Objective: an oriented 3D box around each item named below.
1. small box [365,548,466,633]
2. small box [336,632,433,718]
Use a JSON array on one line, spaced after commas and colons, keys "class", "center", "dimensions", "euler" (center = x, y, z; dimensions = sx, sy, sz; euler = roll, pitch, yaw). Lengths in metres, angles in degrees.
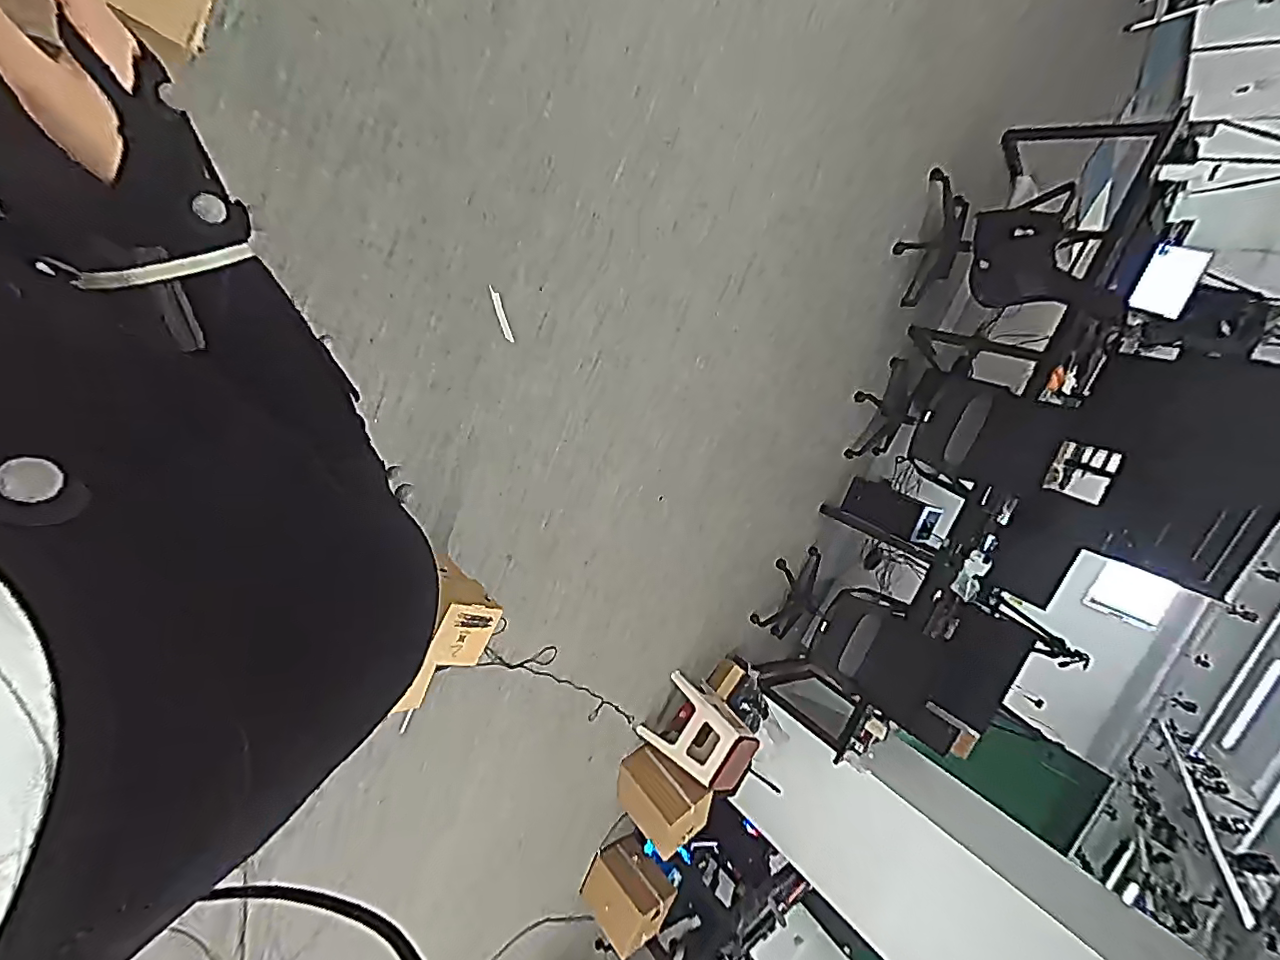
[{"class": "small box", "center": [-0.633, 0.308, 1.521], "dimensions": [0.179, 0.176, 0.168], "euler": [26, 91, -48]}, {"class": "small box", "center": [-0.735, 0.551, 1.553], "dimensions": [0.179, 0.176, 0.168], "euler": [18, 96, -49]}]
